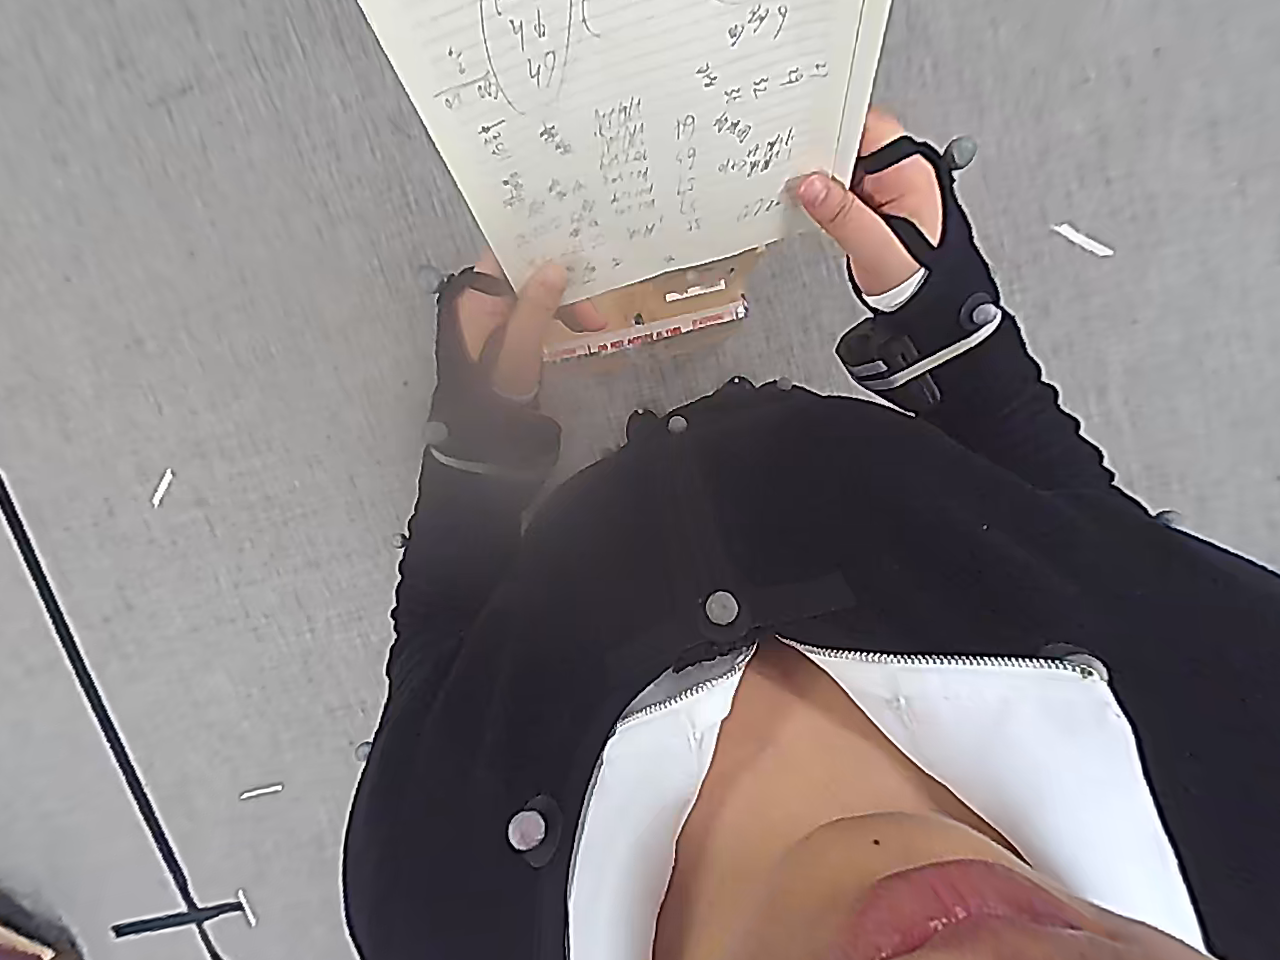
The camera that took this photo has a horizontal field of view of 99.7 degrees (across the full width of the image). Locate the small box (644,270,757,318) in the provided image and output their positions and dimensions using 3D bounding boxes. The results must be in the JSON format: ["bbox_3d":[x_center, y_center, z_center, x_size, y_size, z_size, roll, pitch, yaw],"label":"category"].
[{"bbox_3d":[0.075,-0.374,0.879,0.179,0.176,0.168,-14,98,4],"label":"small box"}]

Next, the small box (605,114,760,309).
[{"bbox_3d":[0.052,-0.340,0.719,0.168,0.176,0.179,-10,100,3],"label":"small box"}]
